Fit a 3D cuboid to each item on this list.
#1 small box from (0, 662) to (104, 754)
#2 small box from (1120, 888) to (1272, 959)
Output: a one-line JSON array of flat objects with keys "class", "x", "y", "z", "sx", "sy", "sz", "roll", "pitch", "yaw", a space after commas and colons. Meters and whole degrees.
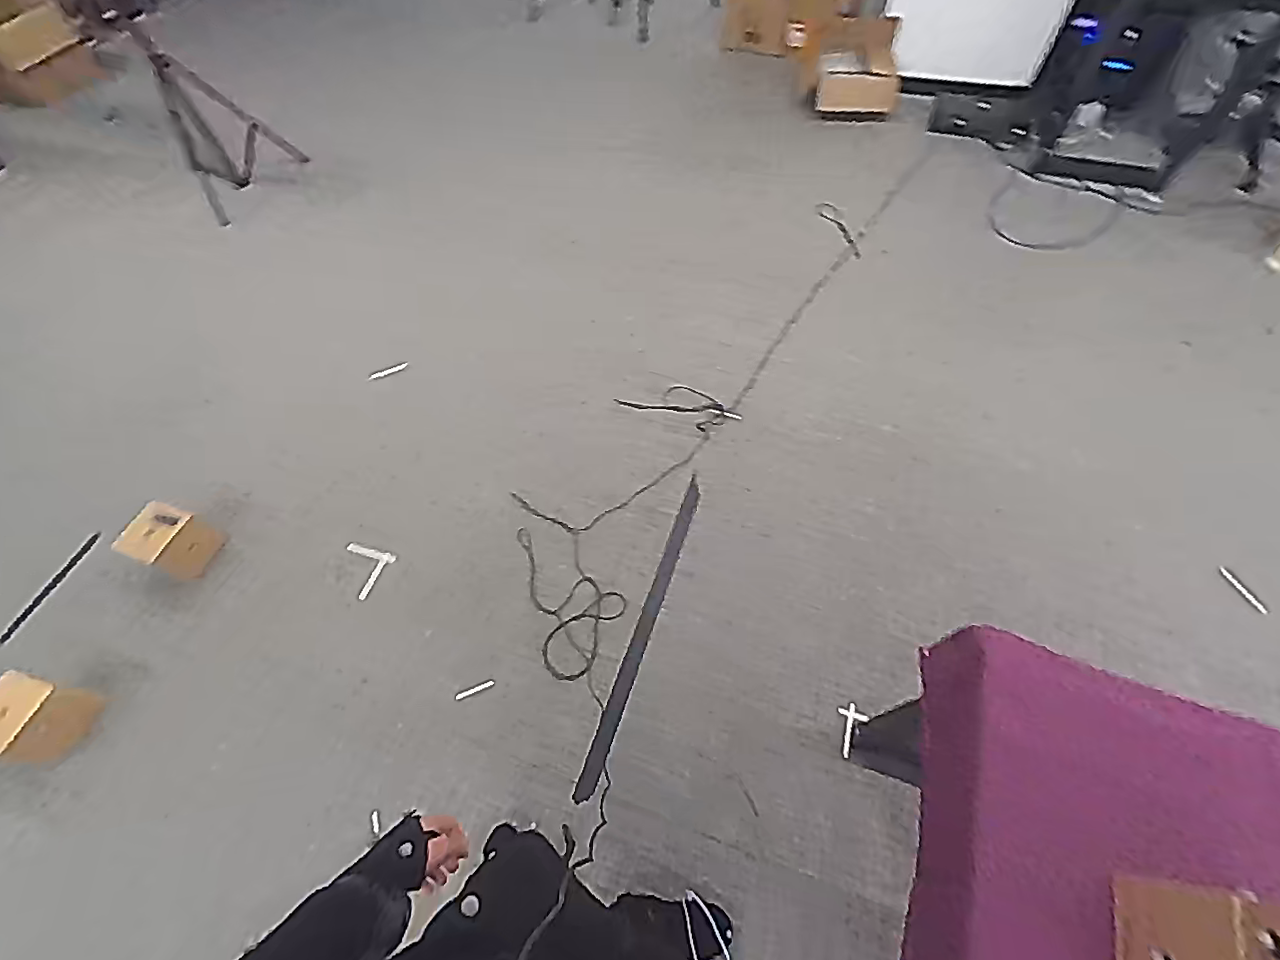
[{"class": "small box", "x": -1.621, "y": 0.617, "z": 1.457, "sx": 0.168, "sy": 0.176, "sz": 0.179, "roll": 16, "pitch": 62, "yaw": 11}, {"class": "small box", "x": 0.630, "y": 0.548, "z": 0.546, "sx": 0.179, "sy": 0.176, "sz": 0.168, "roll": 19, "pitch": 62, "yaw": 13}]
